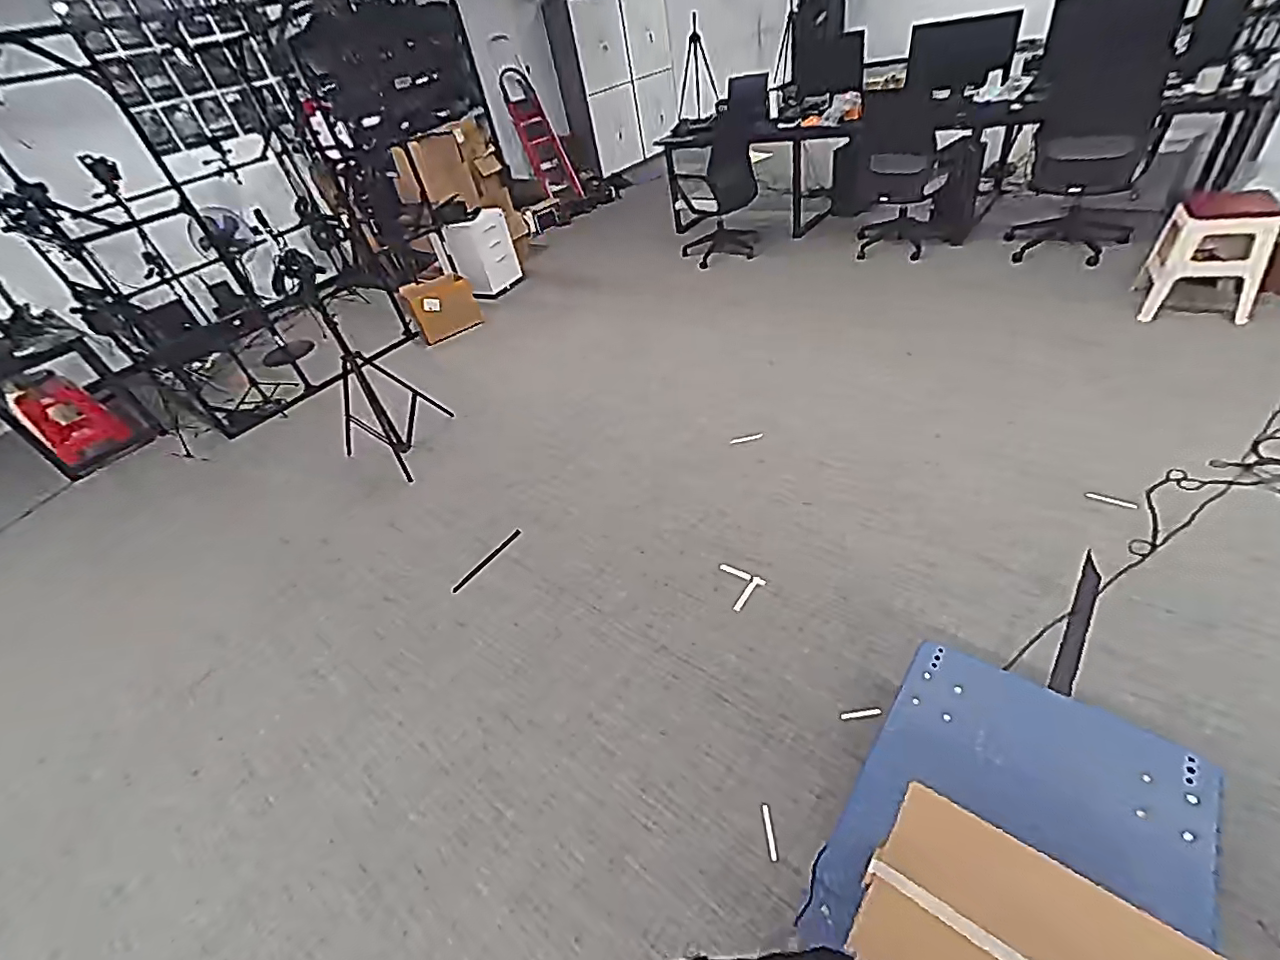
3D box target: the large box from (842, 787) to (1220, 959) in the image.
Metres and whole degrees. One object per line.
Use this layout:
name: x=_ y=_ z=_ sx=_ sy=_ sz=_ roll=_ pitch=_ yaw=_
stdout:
large box: x=0.552 y=0.782 z=0.837 sx=0.408 sy=0.320 sz=0.320 roll=21 pitch=51 yaw=34
